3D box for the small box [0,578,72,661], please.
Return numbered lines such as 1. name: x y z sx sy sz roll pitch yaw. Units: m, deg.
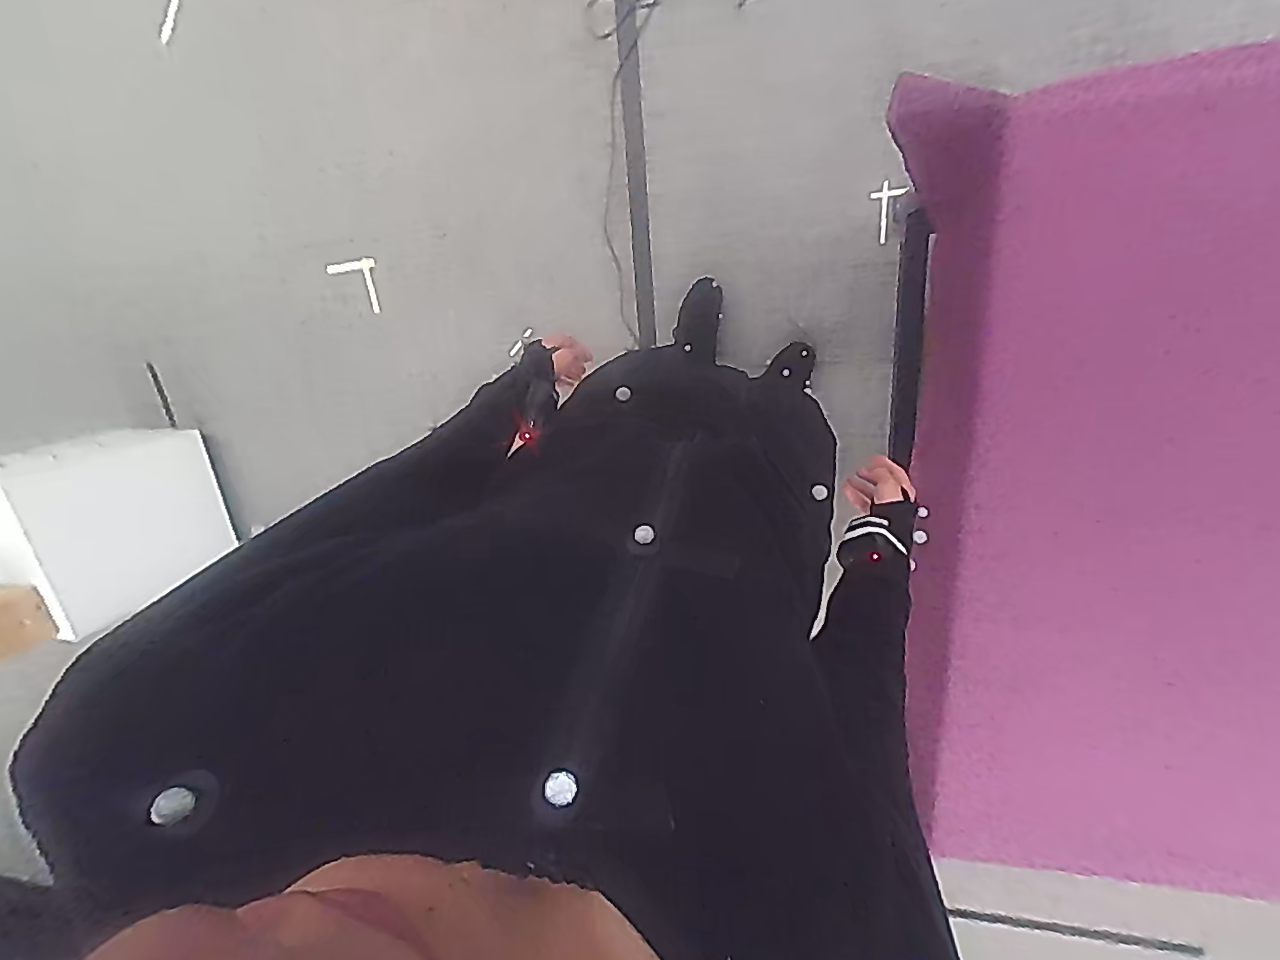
1. small box: -1.829 0.397 1.567 0.179 0.176 0.168 1 111 15
